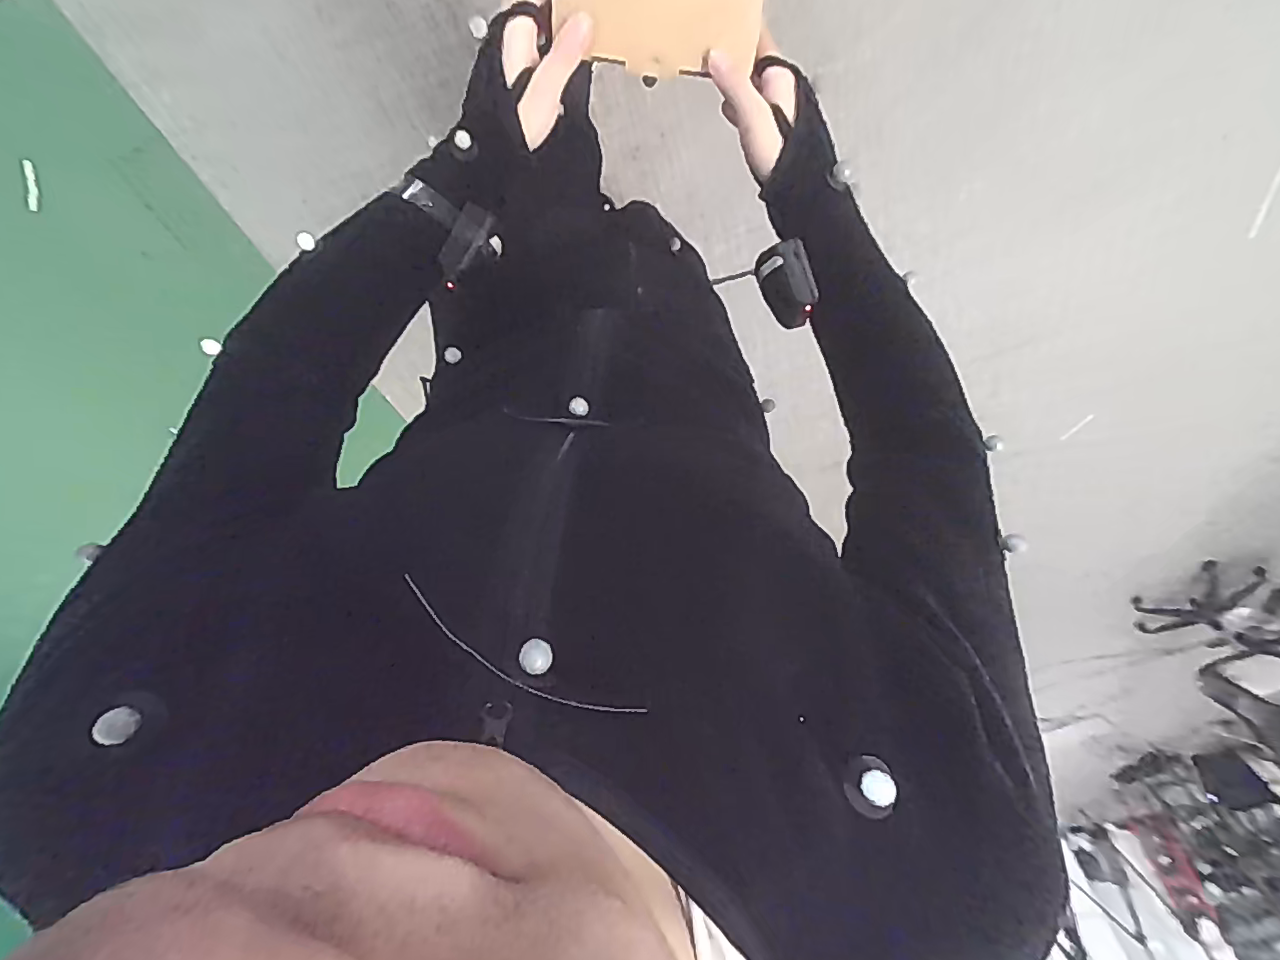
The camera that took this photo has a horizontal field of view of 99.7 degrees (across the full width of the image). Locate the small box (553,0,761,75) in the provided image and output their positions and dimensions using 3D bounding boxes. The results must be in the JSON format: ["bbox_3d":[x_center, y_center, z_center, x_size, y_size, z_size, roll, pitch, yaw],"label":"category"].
[{"bbox_3d":[0.022,-0.465,0.455,0.168,0.176,0.179,5,129,-3],"label":"small box"}]
